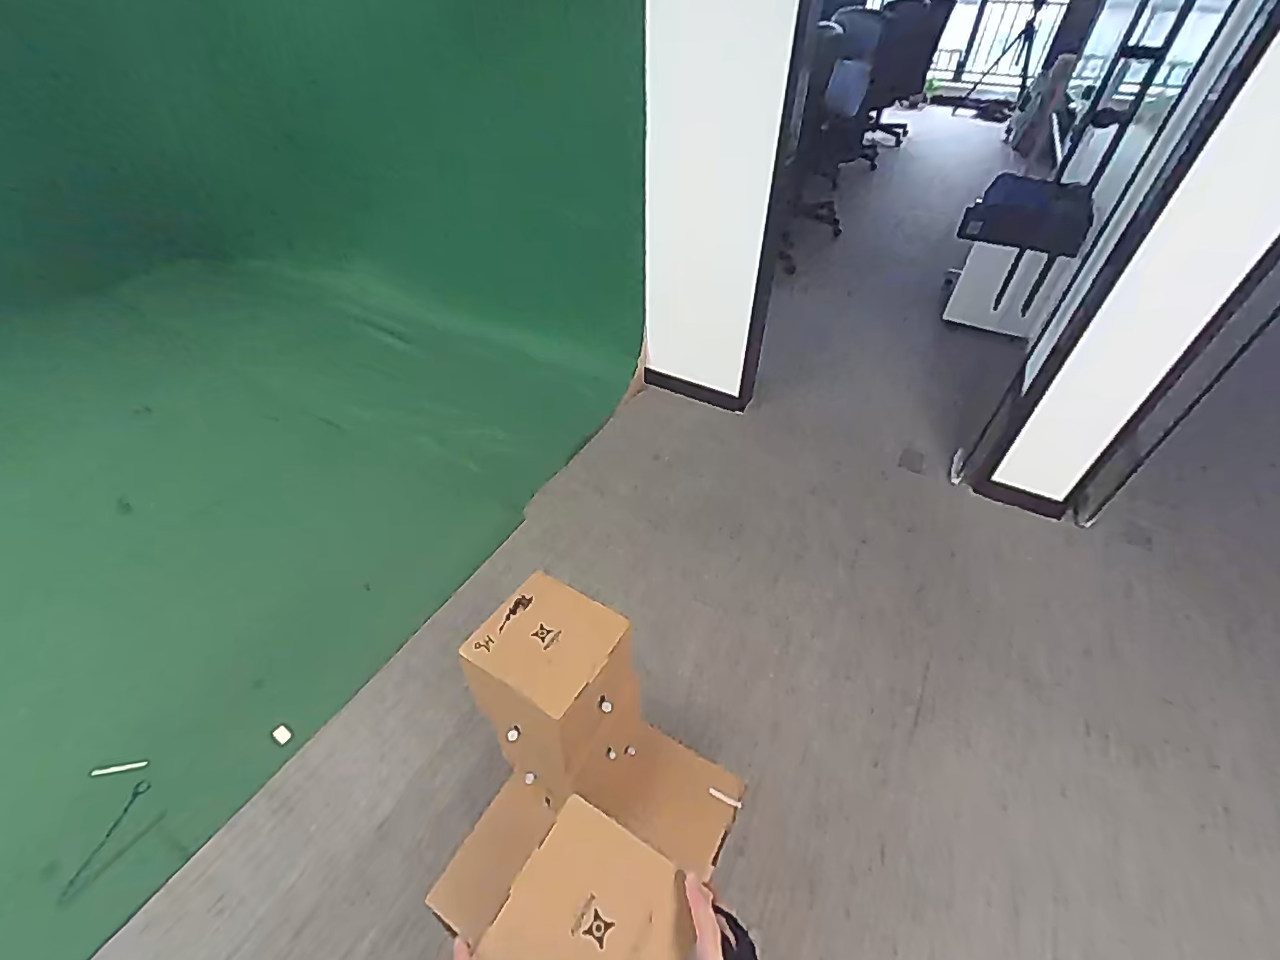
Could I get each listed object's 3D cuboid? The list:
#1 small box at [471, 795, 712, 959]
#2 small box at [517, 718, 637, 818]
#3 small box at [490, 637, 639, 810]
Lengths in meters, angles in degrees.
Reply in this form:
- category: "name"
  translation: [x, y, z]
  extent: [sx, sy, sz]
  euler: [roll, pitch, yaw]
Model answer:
- category: "small box"
  translation: [-0.045, 0.482, 0.572]
  extent: [0.179, 0.176, 0.168]
  euler: [24, 50, 20]
- category: "small box"
  translation: [-0.122, 0.515, 1.014]
  extent: [0.168, 0.176, 0.179]
  euler: [23, 45, 22]
- category: "small box"
  translation: [-0.119, 0.403, 0.892]
  extent: [0.168, 0.176, 0.179]
  euler: [24, 47, 24]
